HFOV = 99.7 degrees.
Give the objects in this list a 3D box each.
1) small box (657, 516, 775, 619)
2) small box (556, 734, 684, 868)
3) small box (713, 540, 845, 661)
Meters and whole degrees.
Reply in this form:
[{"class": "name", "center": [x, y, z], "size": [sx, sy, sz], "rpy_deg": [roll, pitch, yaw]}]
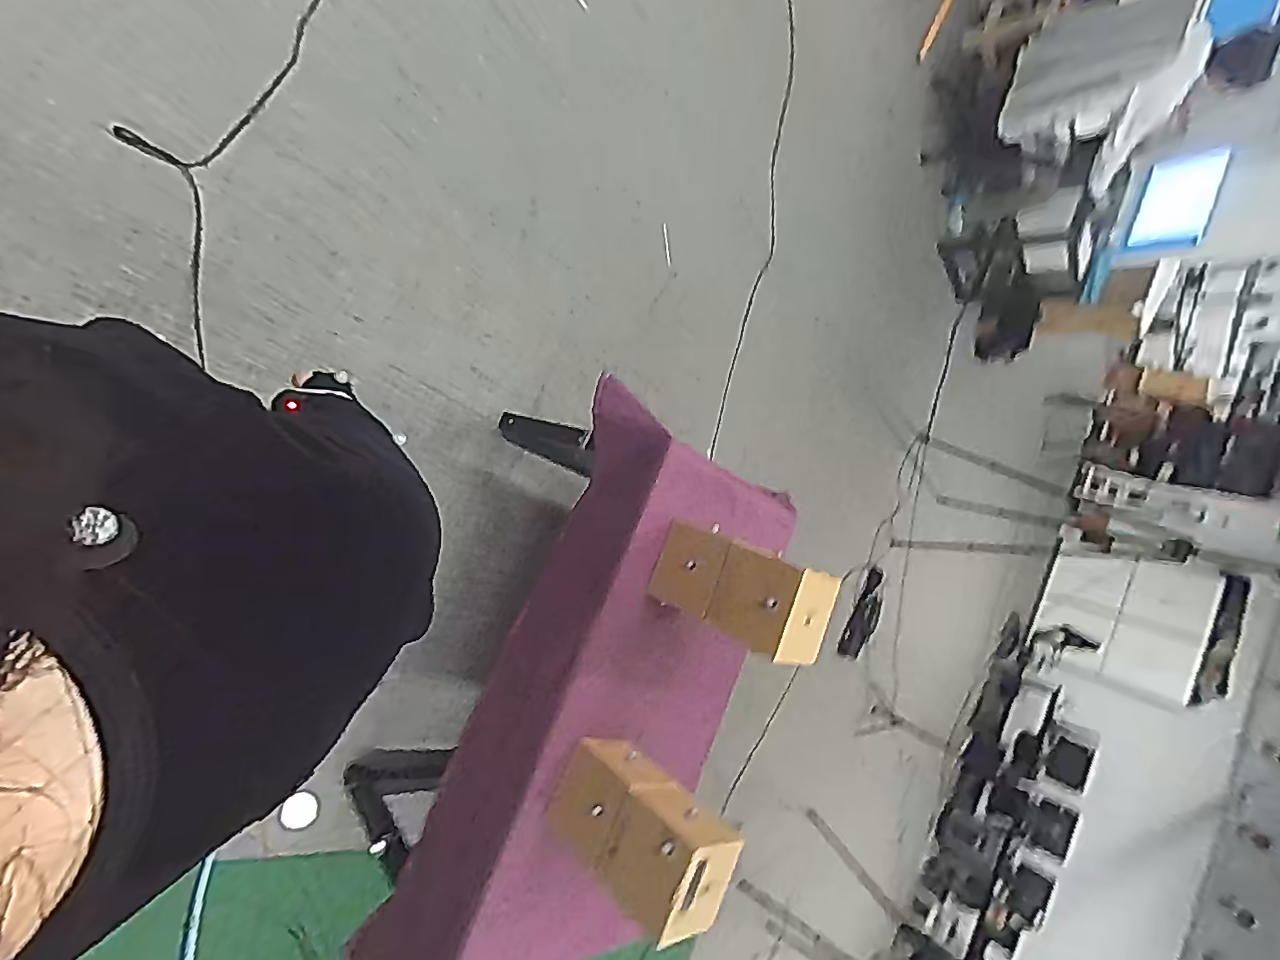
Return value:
[{"class": "small box", "center": [0.161, 0.196, 1.179], "size": [0.168, 0.176, 0.179], "rpy_deg": [24, 85, -44]}, {"class": "small box", "center": [-0.046, 0.654, 1.122], "size": [0.168, 0.176, 0.179], "rpy_deg": [32, 80, -43]}, {"class": "small box", "center": [0.269, 0.235, 1.064], "size": [0.168, 0.176, 0.179], "rpy_deg": [22, 86, -44]}]
